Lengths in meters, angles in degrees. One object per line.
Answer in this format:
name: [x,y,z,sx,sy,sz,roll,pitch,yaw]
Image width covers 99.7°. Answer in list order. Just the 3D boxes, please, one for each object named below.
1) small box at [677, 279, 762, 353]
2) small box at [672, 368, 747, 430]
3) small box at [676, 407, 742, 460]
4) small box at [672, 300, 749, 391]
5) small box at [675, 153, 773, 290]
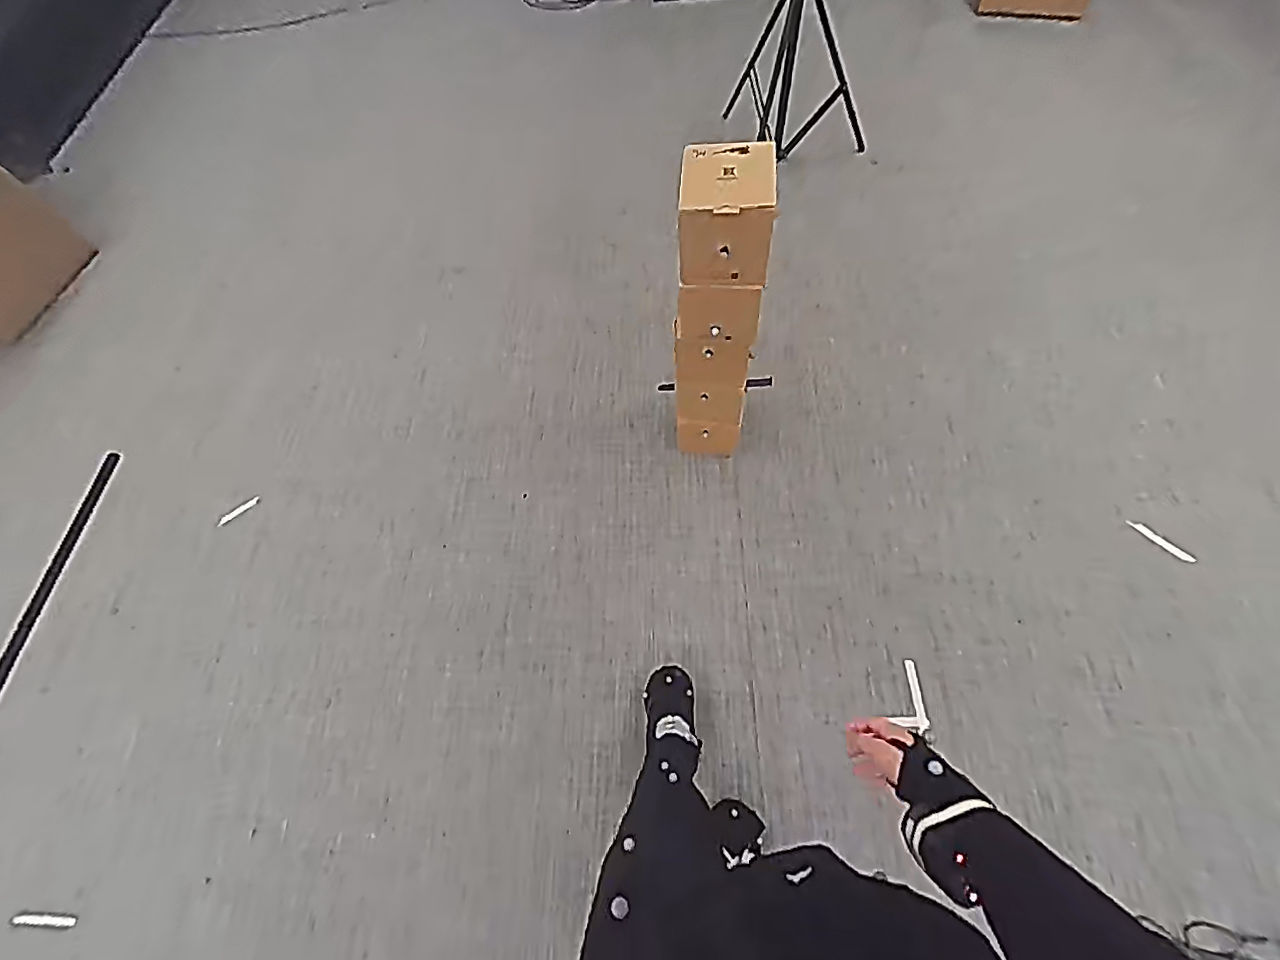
small box: [0.173,-0.399,1.163,0.168,0.176,0.179,5,66,9]
small box: [0.190,-0.251,1.453,0.179,0.176,0.168,8,65,10]
small box: [0.204,-0.170,1.596,0.179,0.176,0.168,5,64,8]
small box: [0.175,-0.330,1.313,0.179,0.176,0.168,6,65,8]
small box: [0.159,-0.479,1.020,0.168,0.176,0.179,3,65,8]
